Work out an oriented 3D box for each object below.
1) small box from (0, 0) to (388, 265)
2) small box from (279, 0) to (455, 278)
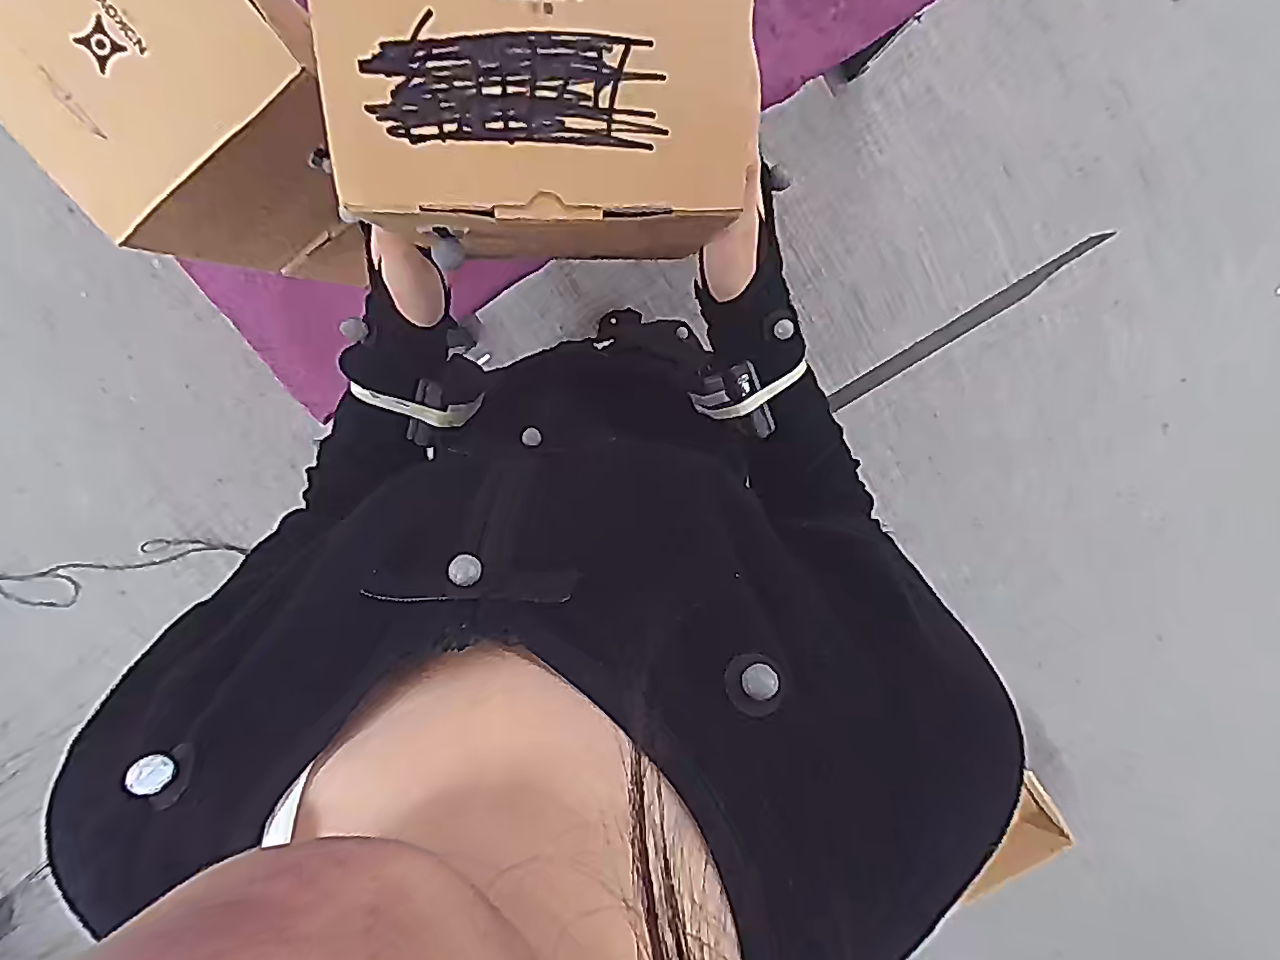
[{"bbox_3d":[-0.323,-0.291,0.408,0.179,0.176,0.168,-37,102,9],"label":"small box"},{"bbox_3d":[-0.329,-0.335,0.564,0.168,0.176,0.179,-35,104,8],"label":"small box"}]
